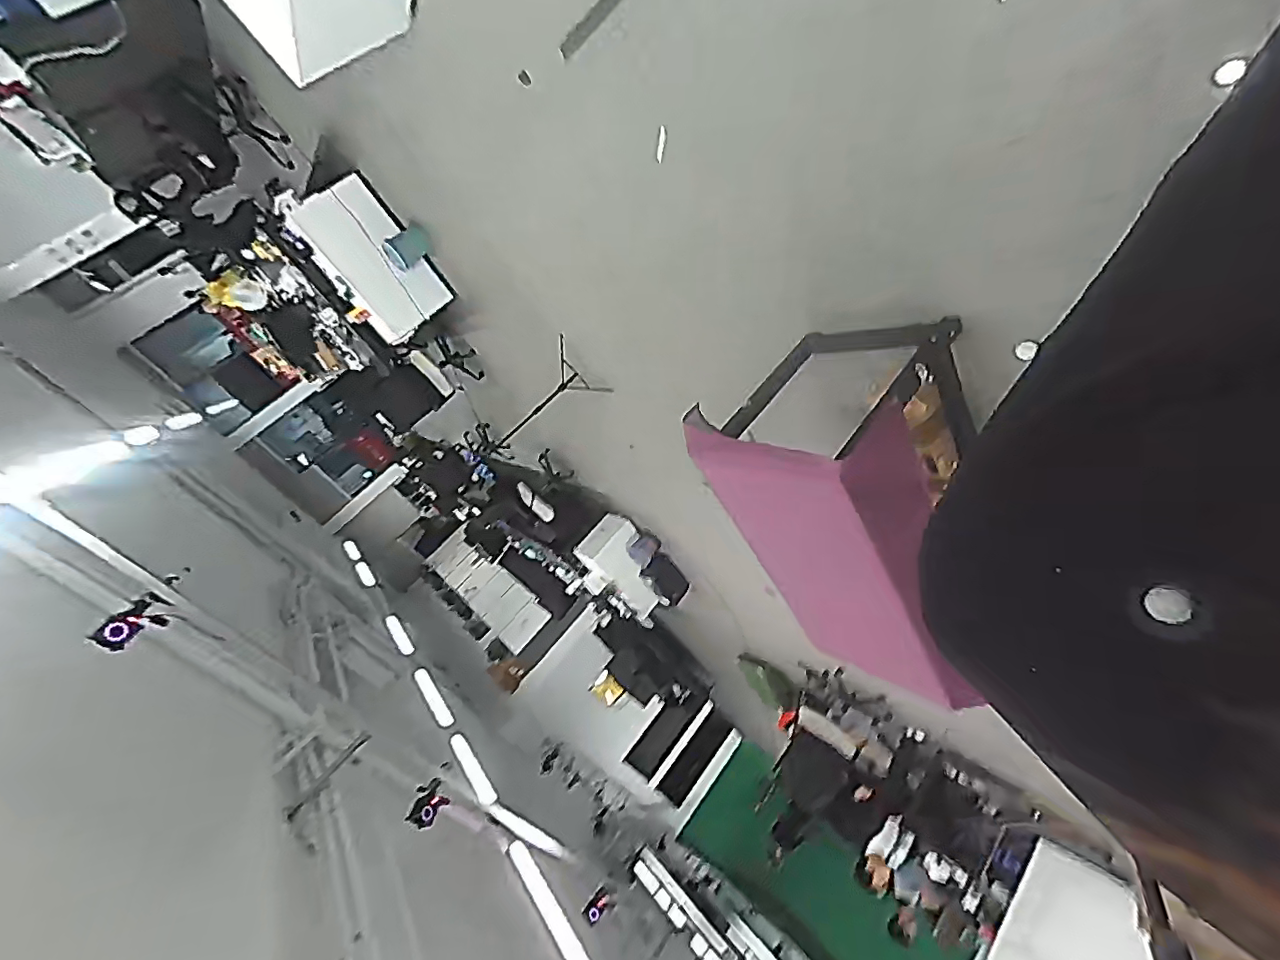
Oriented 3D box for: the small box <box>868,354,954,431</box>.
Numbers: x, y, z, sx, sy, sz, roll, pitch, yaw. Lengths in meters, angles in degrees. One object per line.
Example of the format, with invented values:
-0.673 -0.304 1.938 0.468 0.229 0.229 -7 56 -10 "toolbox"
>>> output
0.952 -0.305 1.895 0.168 0.176 0.179 43 162 -2 "small box"
